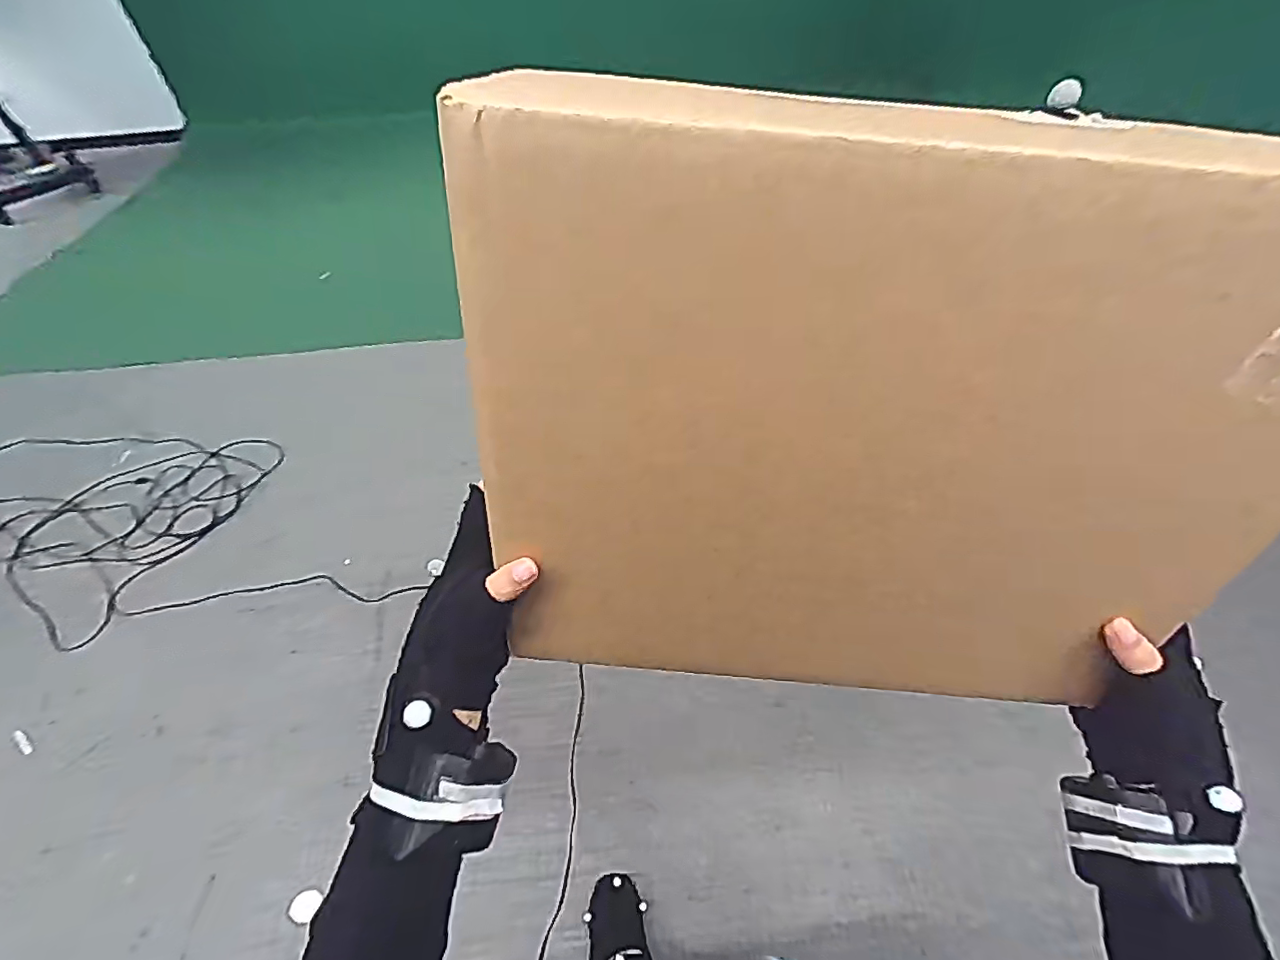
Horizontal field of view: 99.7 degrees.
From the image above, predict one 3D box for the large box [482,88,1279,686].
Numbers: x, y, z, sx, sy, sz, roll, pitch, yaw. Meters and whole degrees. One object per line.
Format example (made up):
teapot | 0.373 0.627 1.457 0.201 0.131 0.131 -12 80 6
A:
large box | 0.127 -0.076 0.401 0.408 0.320 0.320 5 37 -2
